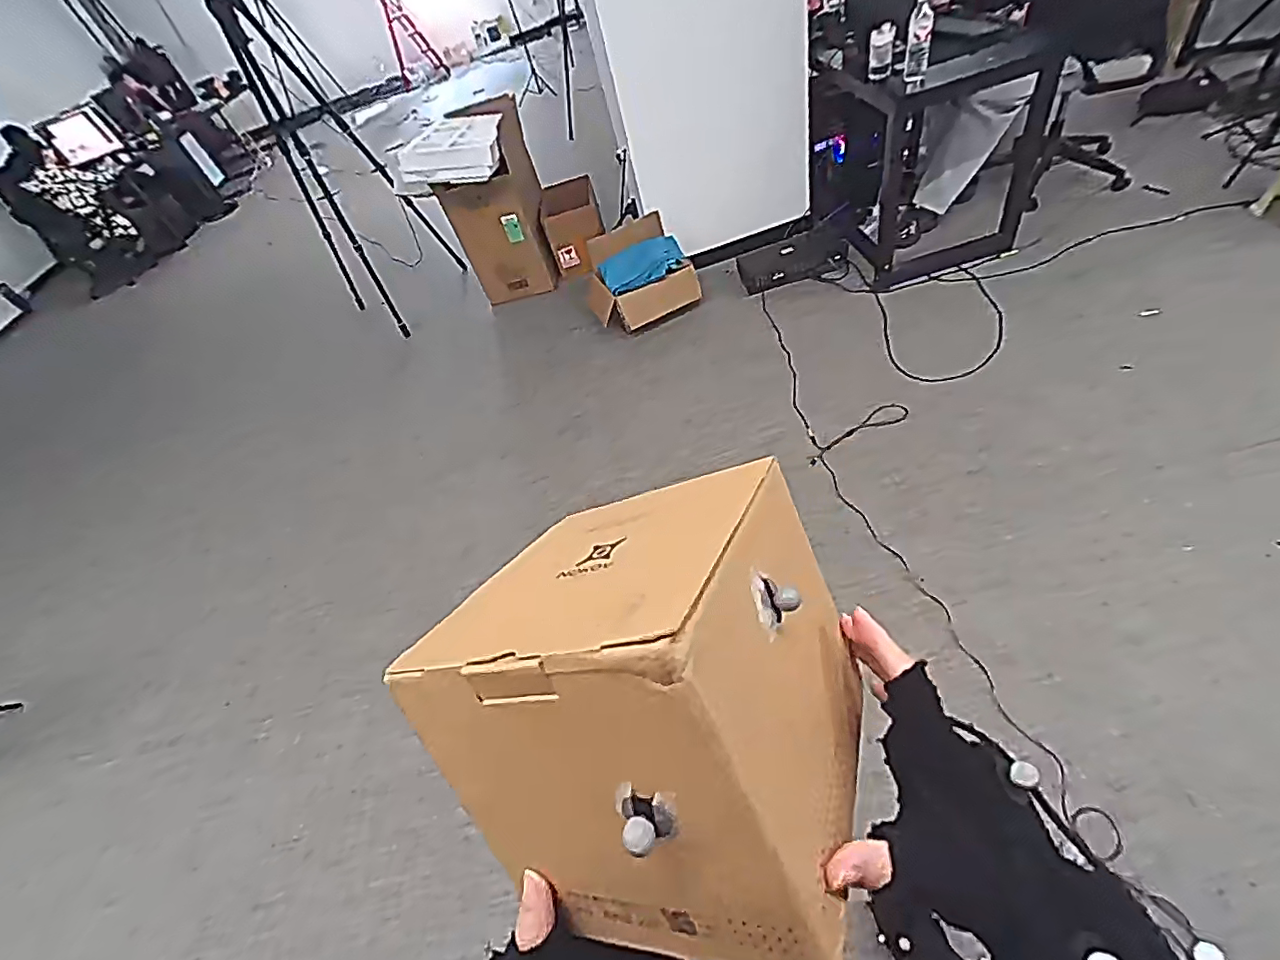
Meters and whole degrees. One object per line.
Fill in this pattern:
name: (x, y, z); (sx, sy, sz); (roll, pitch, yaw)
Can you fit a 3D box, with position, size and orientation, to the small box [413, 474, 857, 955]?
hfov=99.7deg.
small box: (0.015, 0.122, 0.320); (0.168, 0.176, 0.179); (-17, 14, 32)
